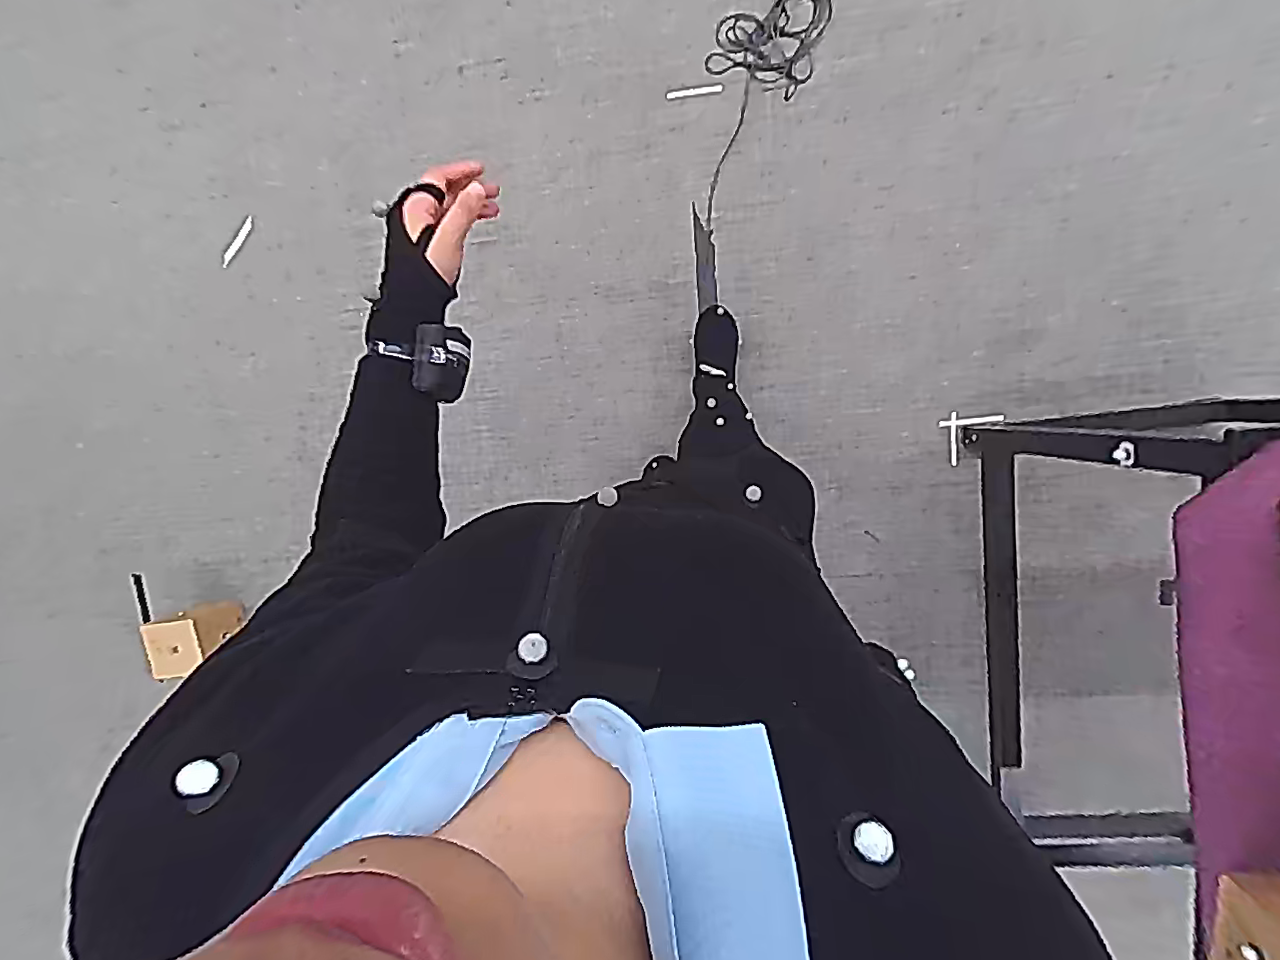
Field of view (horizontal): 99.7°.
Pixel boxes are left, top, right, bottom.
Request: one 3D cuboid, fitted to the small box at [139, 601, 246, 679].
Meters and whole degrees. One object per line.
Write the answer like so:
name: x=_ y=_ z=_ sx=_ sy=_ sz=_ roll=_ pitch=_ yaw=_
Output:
small box: x=-1.326 y=0.473 z=1.618 sx=0.179 sy=0.176 sz=0.168 roll=-8 pitch=96 yaw=8
